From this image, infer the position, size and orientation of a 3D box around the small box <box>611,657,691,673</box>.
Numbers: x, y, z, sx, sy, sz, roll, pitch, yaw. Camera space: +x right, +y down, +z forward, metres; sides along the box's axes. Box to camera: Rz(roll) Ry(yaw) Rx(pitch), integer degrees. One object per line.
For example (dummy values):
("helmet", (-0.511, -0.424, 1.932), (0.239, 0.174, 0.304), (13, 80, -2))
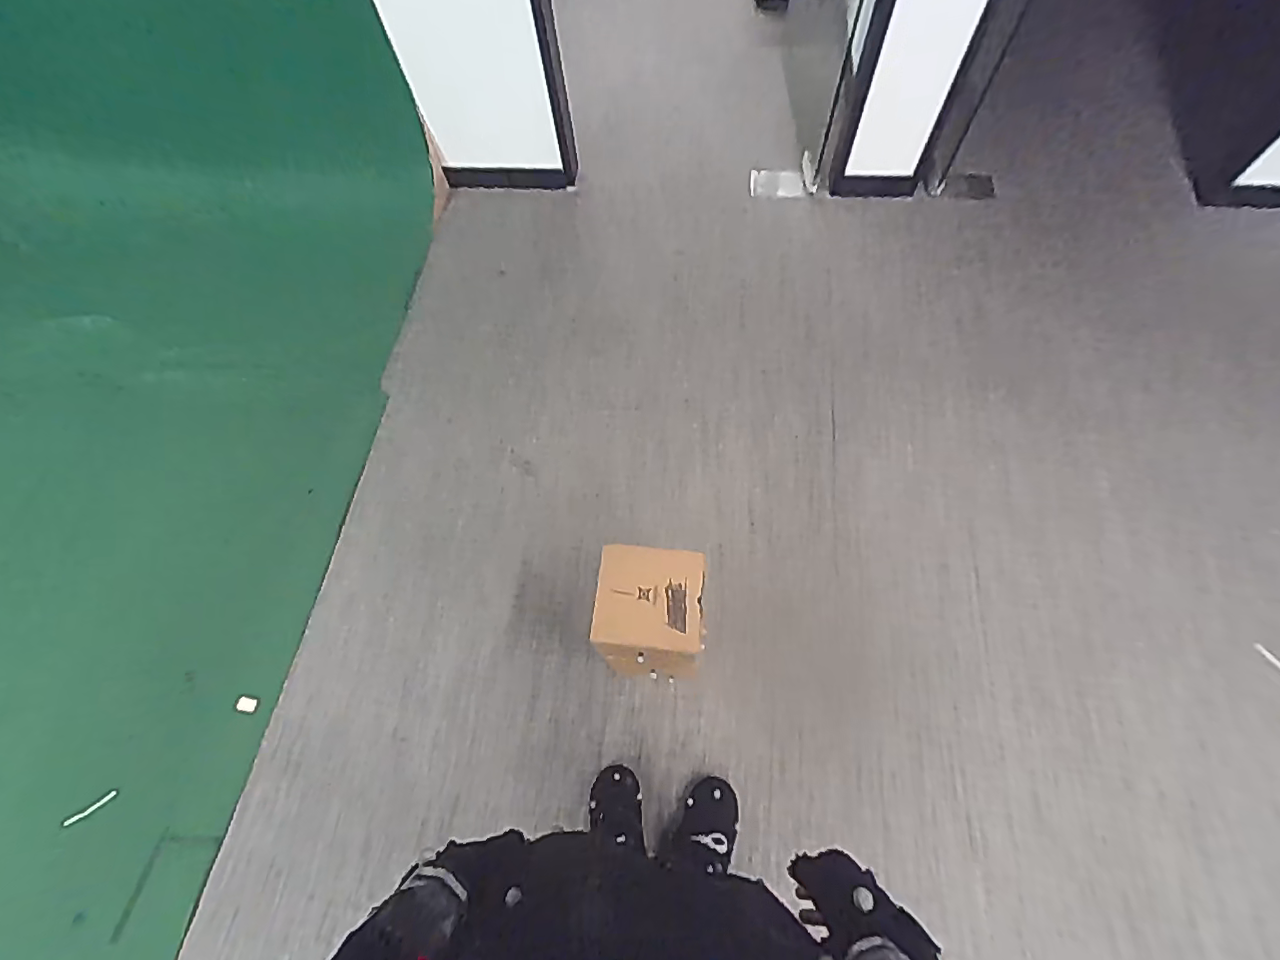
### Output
("small box", (0.038, 0.350, 1.257), (0.179, 0.176, 0.168), (4, 65, 7))

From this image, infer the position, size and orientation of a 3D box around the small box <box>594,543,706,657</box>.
("small box", (0.021, 0.218, 0.957), (0.179, 0.176, 0.168), (2, 66, 4))

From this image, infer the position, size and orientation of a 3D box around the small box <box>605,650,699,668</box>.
("small box", (0.033, 0.287, 1.106), (0.179, 0.176, 0.168), (4, 66, 6))
